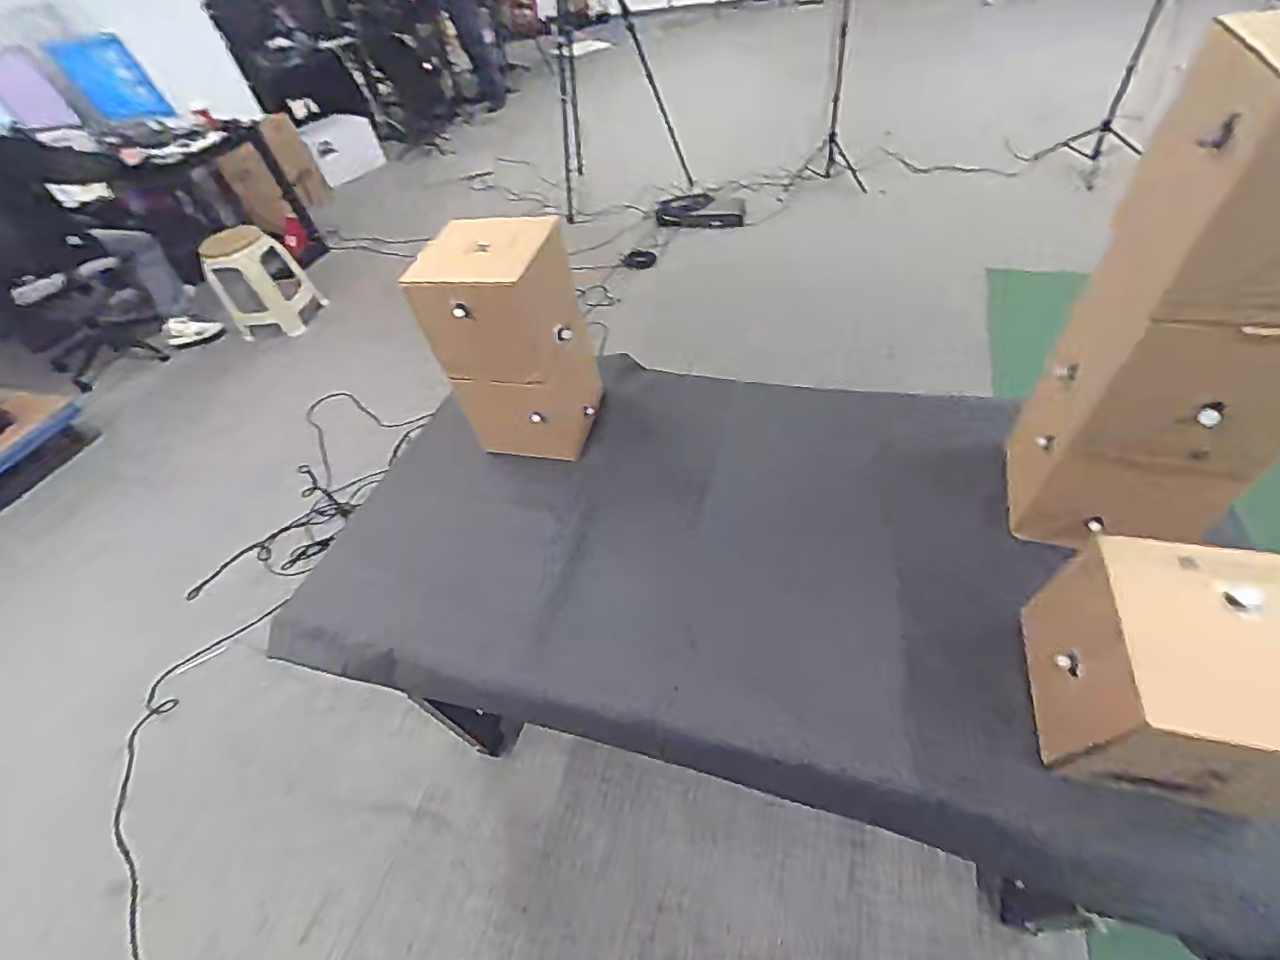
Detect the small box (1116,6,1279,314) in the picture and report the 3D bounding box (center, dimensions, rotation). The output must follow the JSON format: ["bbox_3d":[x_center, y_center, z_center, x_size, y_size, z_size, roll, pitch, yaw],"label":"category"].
[{"bbox_3d":[0.518,-0.242,0.417,0.168,0.176,0.179,10,53,18],"label":"small box"}]

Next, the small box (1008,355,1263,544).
[{"bbox_3d":[0.578,-0.035,0.666,0.168,0.176,0.179,10,53,19],"label":"small box"}]

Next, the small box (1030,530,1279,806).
[{"bbox_3d":[0.481,0.168,0.486,0.168,0.179,0.176,6,55,15],"label":"small box"}]

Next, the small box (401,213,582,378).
[{"bbox_3d":[-0.202,-0.266,0.790,0.179,0.176,0.168,6,54,14],"label":"small box"}]

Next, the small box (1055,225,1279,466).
[{"bbox_3d":[0.549,-0.136,0.540,0.168,0.176,0.179,11,54,19],"label":"small box"}]
